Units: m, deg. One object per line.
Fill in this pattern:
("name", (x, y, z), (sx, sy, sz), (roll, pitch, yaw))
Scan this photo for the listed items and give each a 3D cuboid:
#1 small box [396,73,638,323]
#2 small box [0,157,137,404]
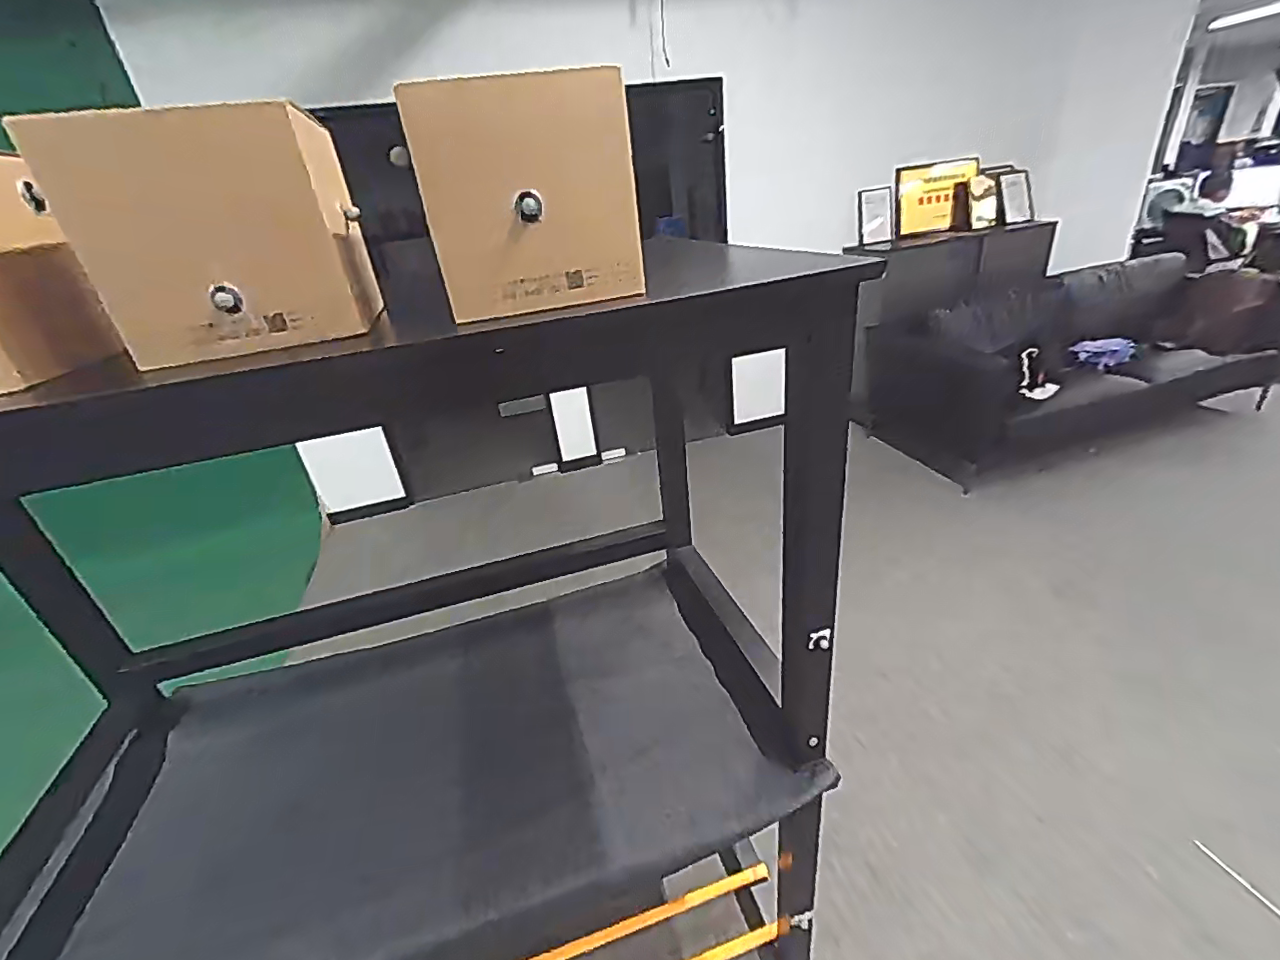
("small box", (-0.105, -0.249, 0.501), (0.168, 0.176, 0.179), (-12, 27, -11))
("small box", (-0.564, -0.149, 0.426), (0.168, 0.176, 0.179), (-13, 27, -10))
